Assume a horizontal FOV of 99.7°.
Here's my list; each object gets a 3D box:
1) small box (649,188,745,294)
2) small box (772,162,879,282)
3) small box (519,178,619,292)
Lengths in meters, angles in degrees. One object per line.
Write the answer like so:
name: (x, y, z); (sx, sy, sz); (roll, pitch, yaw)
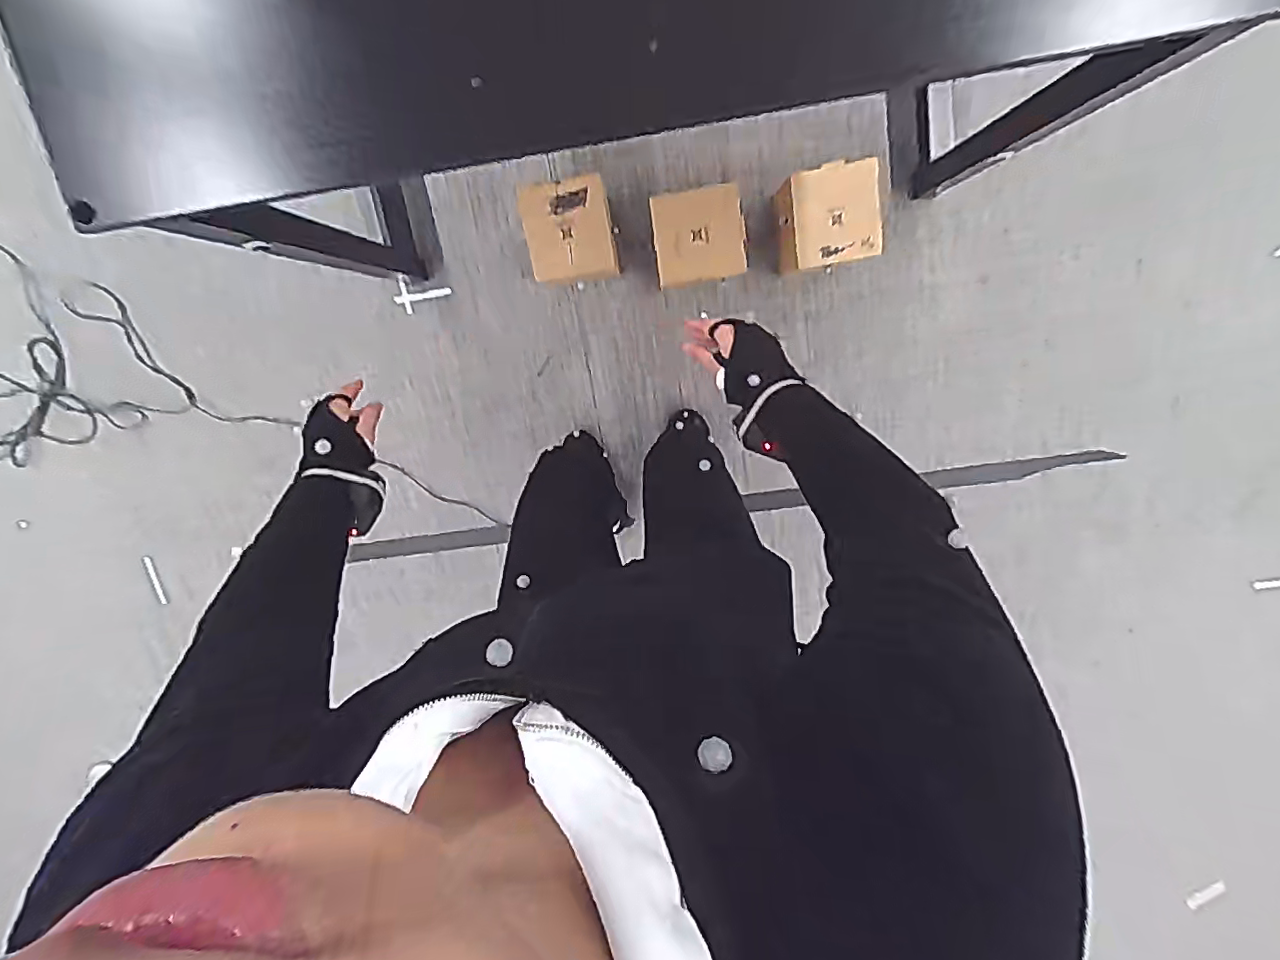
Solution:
small box: (0.115, -0.493, 1.136); (0.179, 0.176, 0.168); (-7, 103, 5)
small box: (0.375, -0.523, 1.117); (0.168, 0.176, 0.179); (-9, 103, 5)
small box: (-0.142, -0.506, 1.140); (0.168, 0.176, 0.179); (-9, 104, 4)
